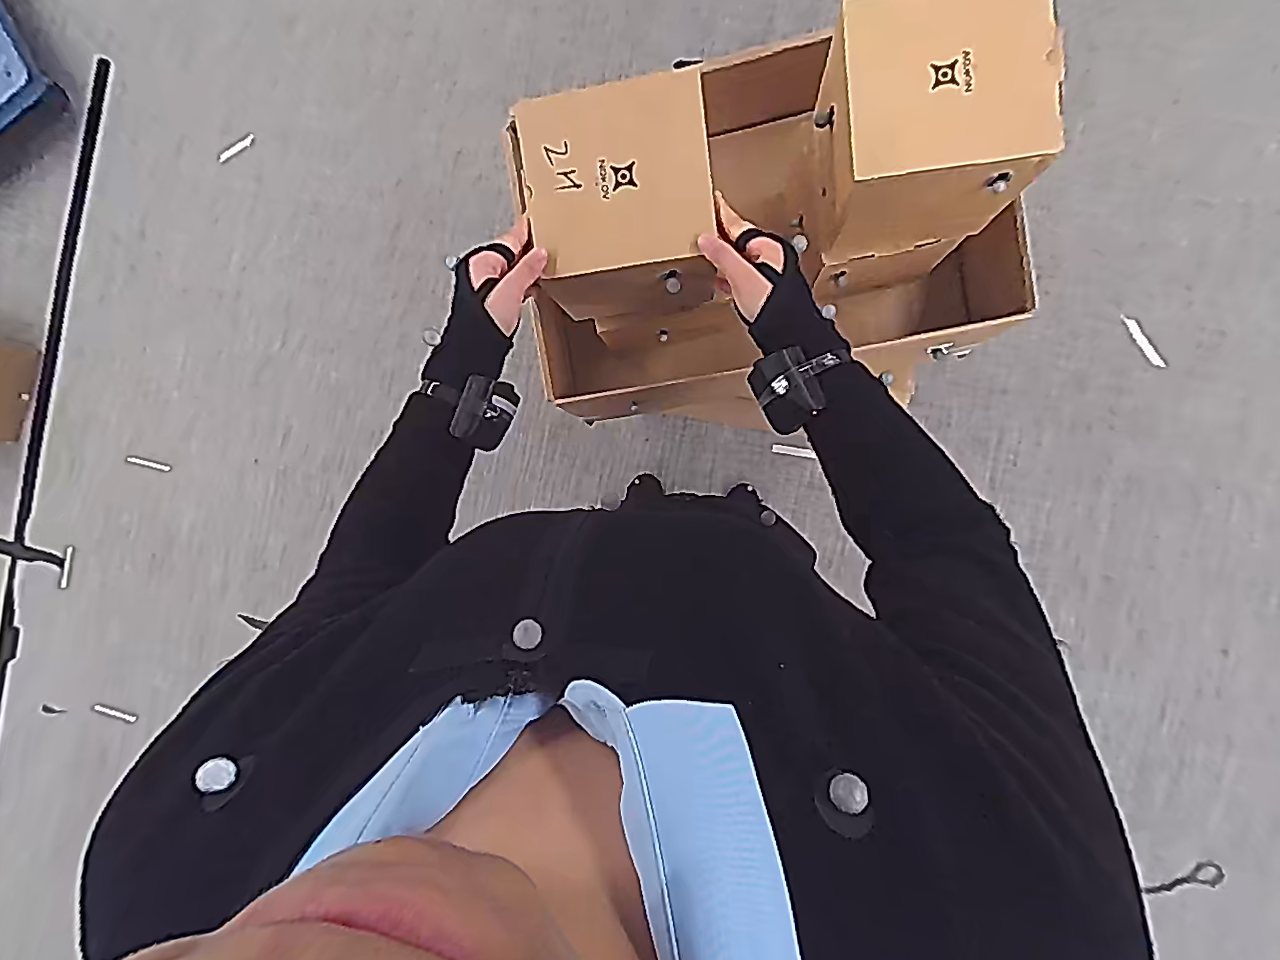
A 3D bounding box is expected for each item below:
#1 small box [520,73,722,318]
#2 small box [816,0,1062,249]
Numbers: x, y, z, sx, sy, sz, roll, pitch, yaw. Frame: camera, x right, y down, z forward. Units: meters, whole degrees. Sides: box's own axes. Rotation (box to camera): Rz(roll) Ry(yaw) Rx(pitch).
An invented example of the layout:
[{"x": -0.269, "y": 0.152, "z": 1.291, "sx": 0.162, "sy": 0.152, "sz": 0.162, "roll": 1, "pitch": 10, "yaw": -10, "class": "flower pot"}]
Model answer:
[{"x": -0.010, "y": -0.282, "z": 0.578, "sx": 0.179, "sy": 0.176, "sz": 0.168, "roll": -6, "pitch": 93, "yaw": 7, "class": "small box"}, {"x": 0.283, "y": -0.356, "z": 0.555, "sx": 0.179, "sy": 0.176, "sz": 0.168, "roll": -4, "pitch": 91, "yaw": 8, "class": "small box"}]
